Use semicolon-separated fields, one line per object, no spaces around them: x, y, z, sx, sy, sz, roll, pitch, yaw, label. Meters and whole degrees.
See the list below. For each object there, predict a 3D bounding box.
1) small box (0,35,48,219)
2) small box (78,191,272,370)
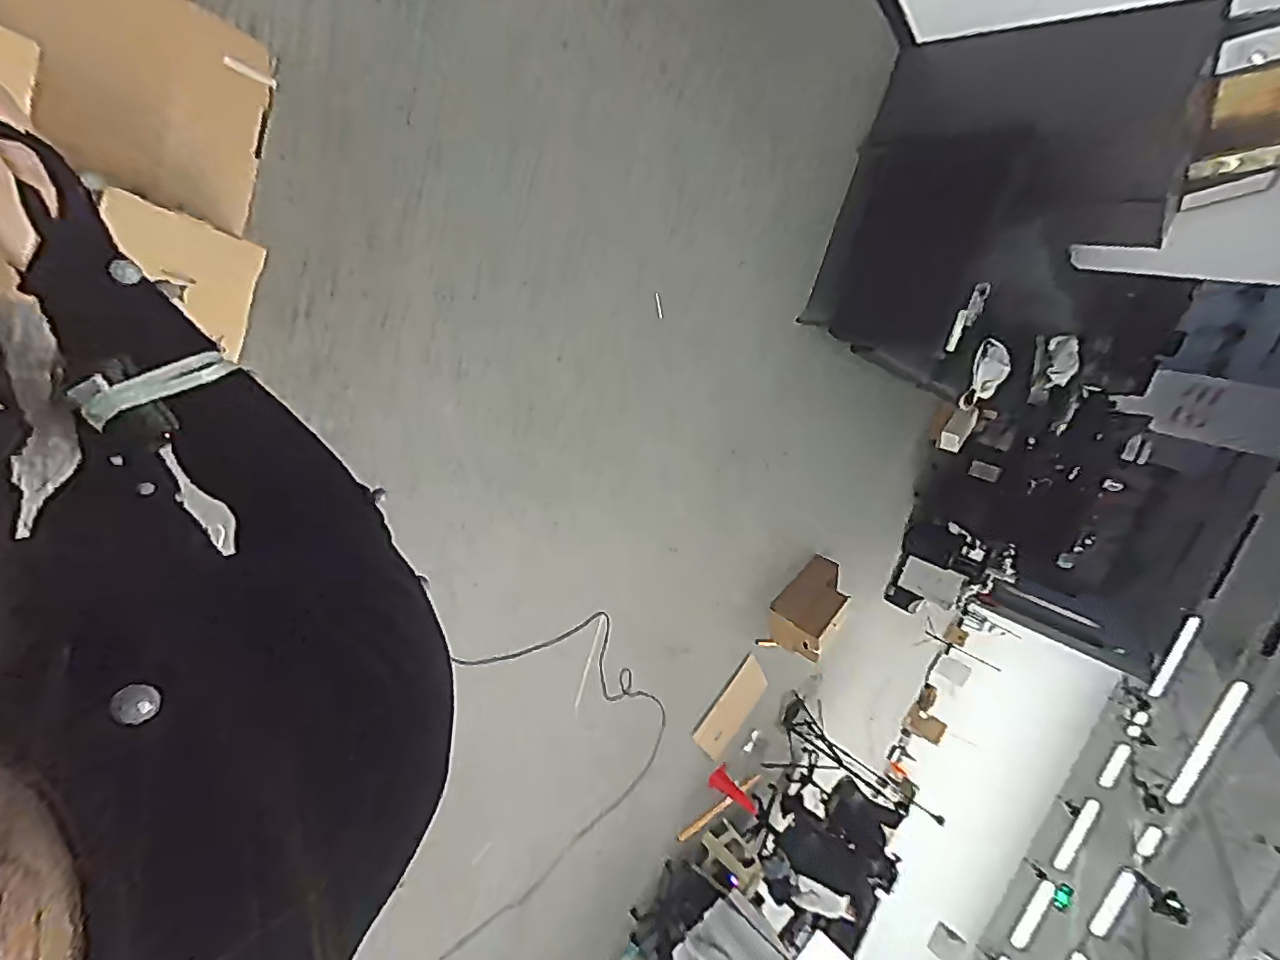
-0.759;-0.398;0.572;0.168;0.176;0.179;8;101;-49;small box
-0.647;-0.271;0.751;0.168;0.176;0.179;11;99;-50;small box
